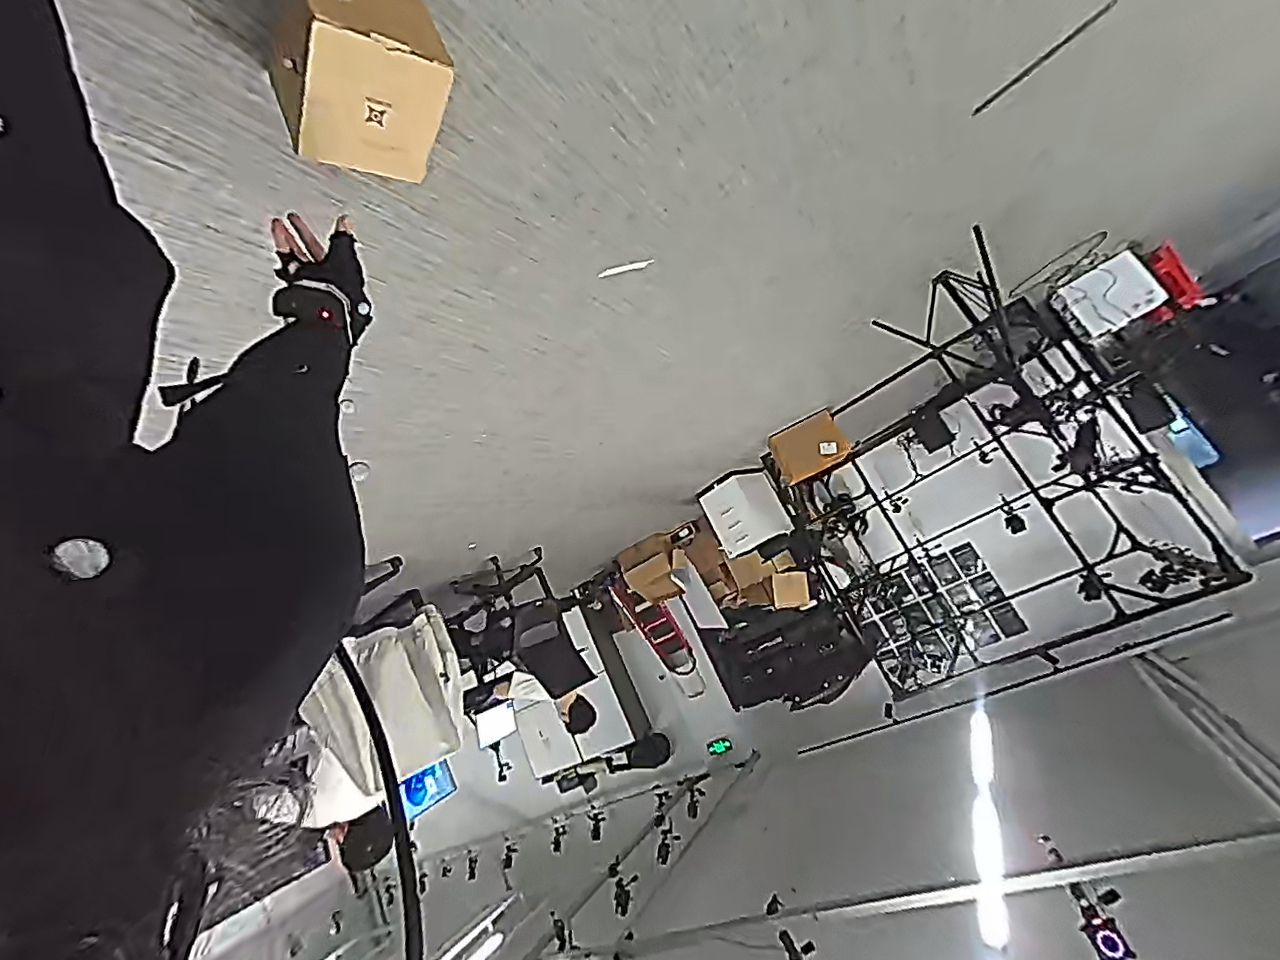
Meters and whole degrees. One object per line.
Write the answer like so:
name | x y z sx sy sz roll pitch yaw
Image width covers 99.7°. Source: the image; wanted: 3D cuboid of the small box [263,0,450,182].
small box | -0.381 -0.545 0.716 0.168 0.176 0.179 -10 159 -43
